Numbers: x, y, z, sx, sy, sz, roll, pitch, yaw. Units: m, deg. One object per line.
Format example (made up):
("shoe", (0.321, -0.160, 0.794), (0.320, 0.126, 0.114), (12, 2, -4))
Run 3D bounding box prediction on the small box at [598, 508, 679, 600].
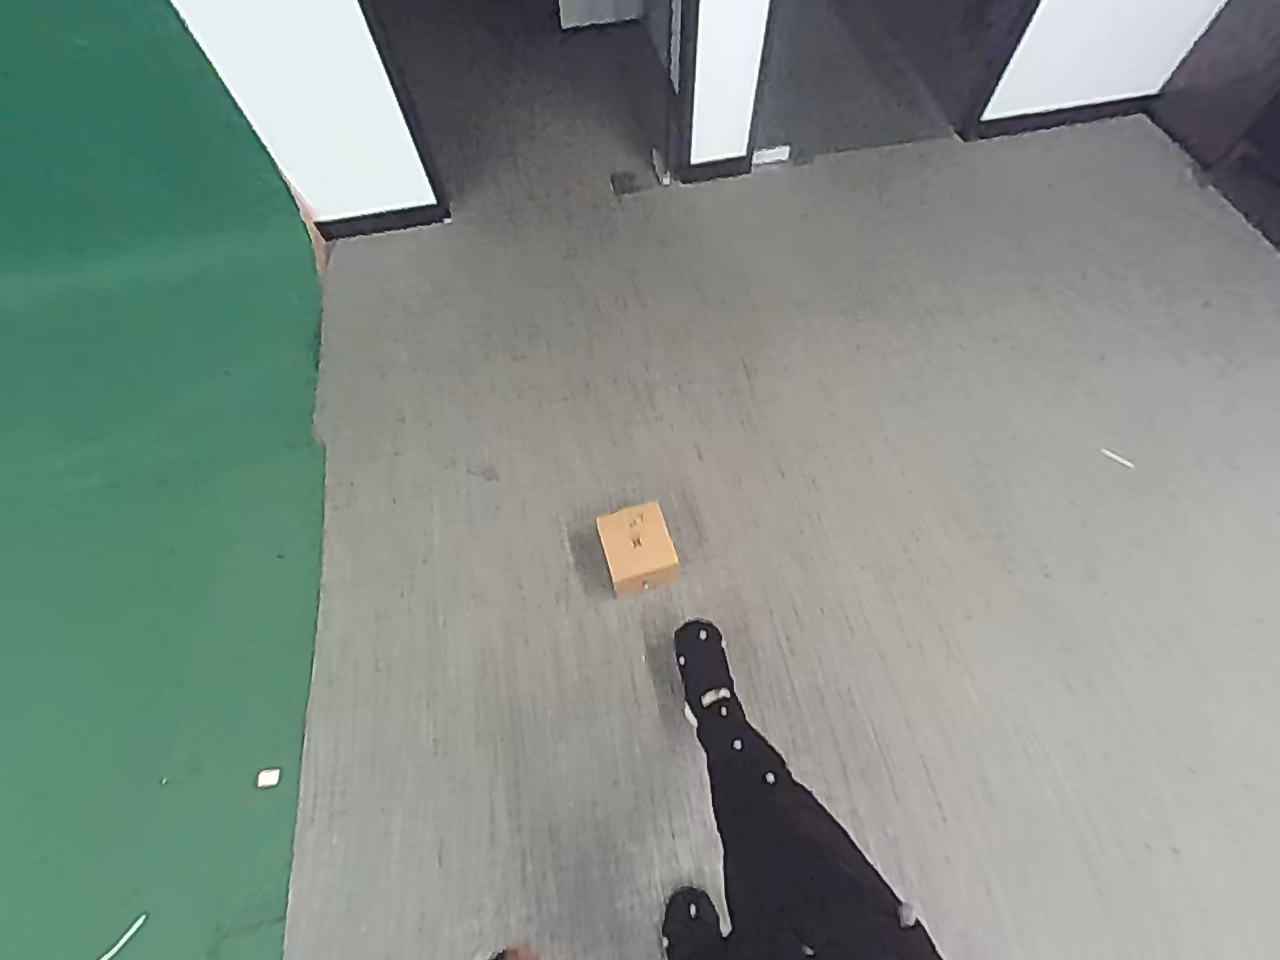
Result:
("small box", (-0.002, 0.198, 1.392), (0.168, 0.176, 0.179), (-16, 64, -6))
